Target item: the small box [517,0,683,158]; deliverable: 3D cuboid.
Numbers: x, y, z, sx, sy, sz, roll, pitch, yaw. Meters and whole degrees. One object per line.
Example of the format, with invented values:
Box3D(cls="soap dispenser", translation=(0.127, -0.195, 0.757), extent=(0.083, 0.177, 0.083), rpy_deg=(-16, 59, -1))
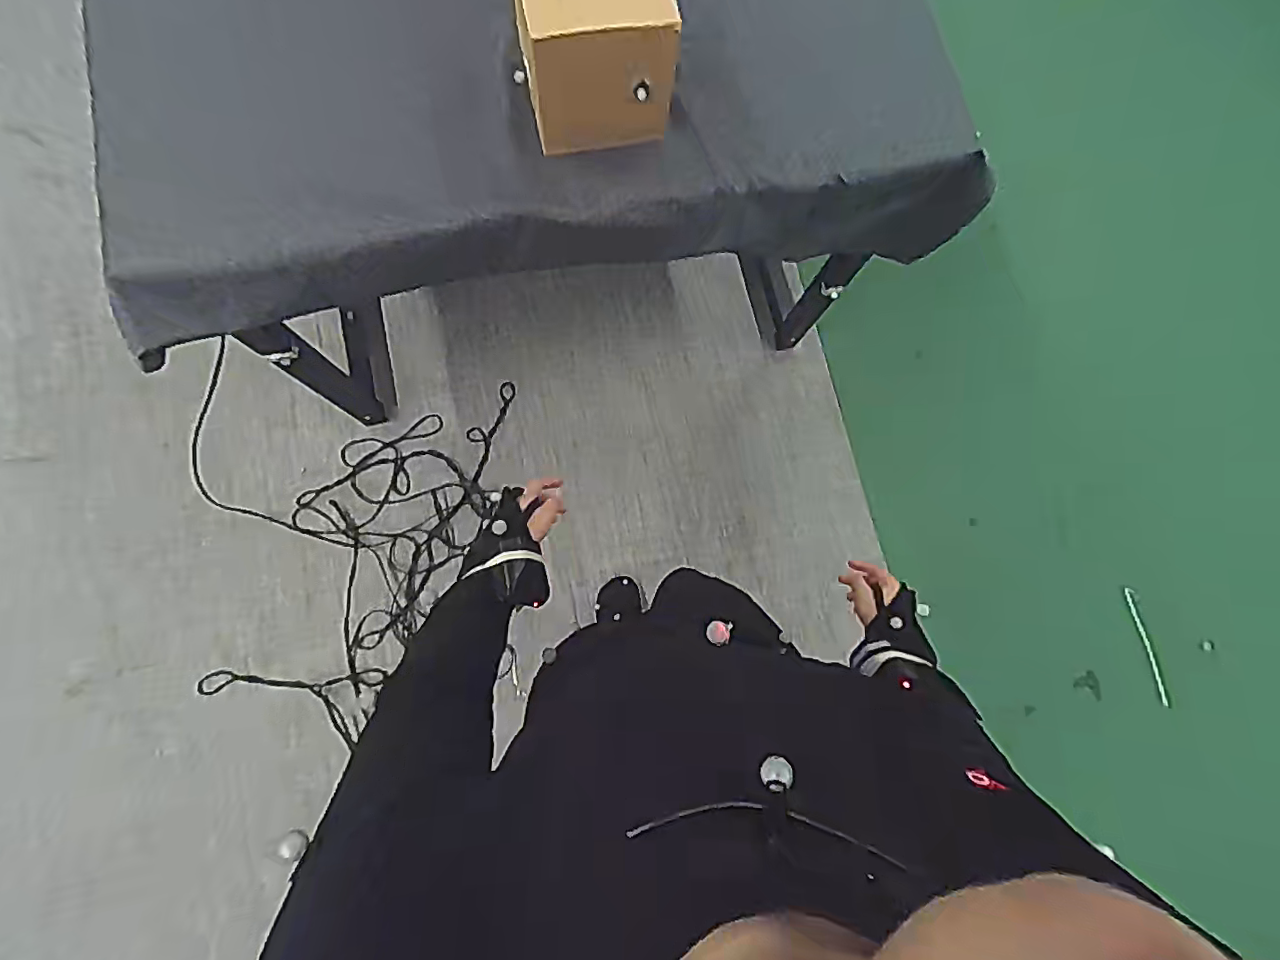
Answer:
Box3D(cls="small box", translation=(-0.058, -0.555, 0.696), extent=(0.179, 0.176, 0.168), rpy_deg=(-13, 79, -6))
